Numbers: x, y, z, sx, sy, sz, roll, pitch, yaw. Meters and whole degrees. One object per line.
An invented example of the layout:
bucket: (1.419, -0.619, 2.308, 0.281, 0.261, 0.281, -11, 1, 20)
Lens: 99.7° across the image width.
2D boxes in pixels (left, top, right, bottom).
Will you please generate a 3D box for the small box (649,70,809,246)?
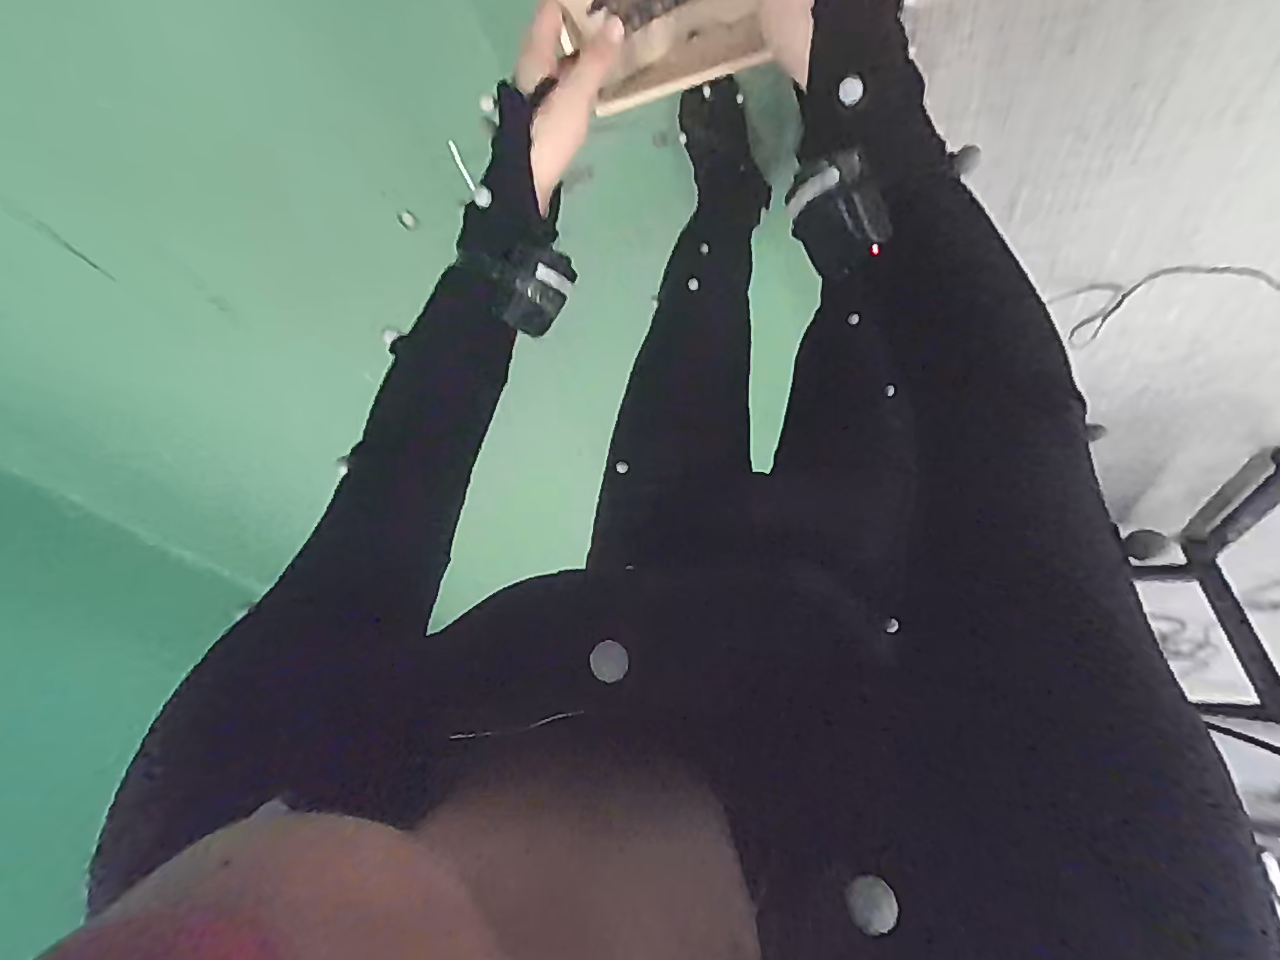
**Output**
small box: (0.153, -0.527, 0.901, 0.176, 0.168, 0.179, 2, 130, -43)
